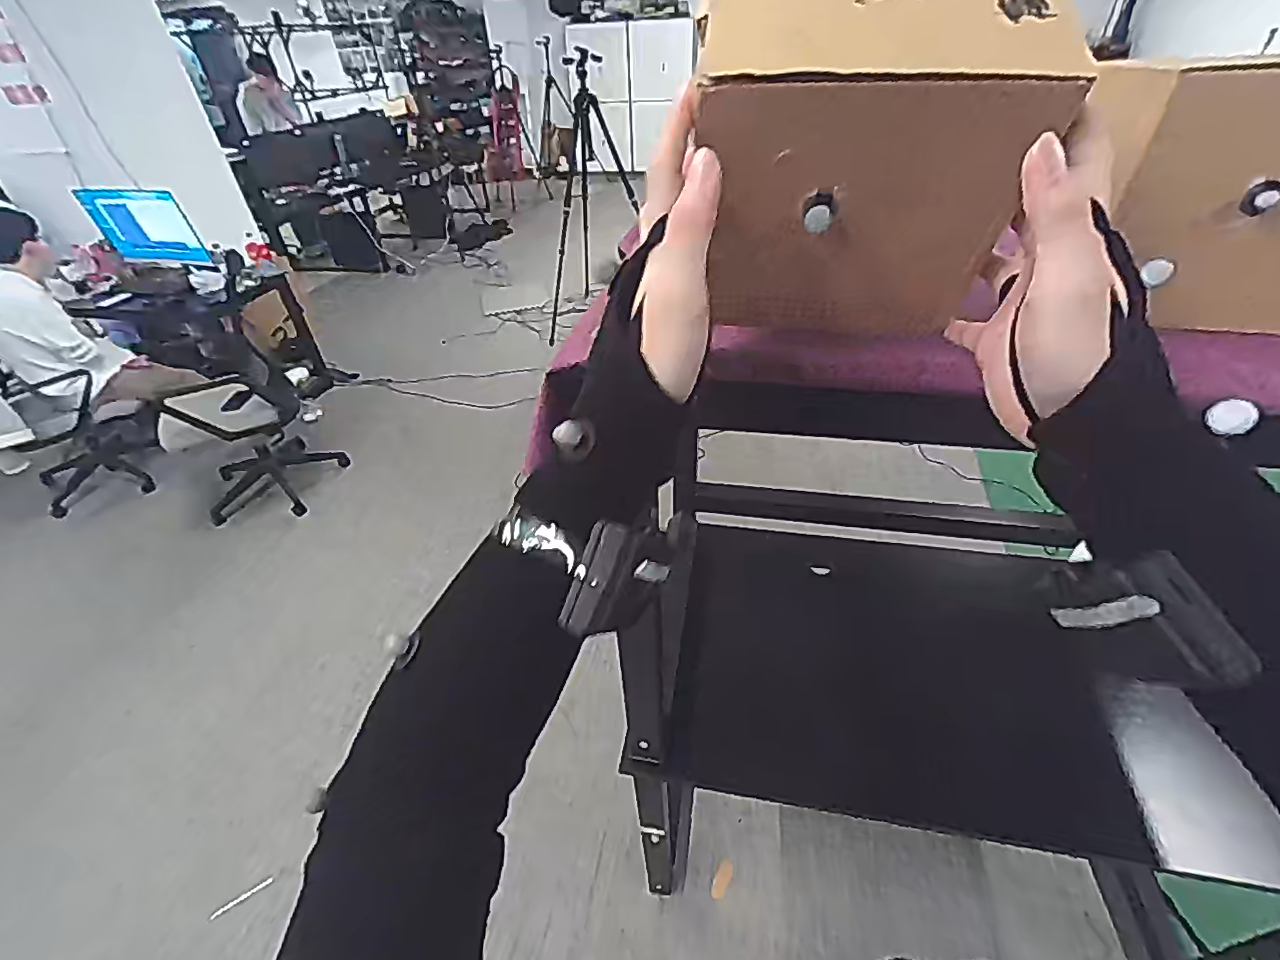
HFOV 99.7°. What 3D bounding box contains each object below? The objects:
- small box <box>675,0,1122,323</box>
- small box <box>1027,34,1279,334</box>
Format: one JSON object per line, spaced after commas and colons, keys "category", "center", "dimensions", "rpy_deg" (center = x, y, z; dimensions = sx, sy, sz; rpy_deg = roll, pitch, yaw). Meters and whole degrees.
{"category": "small box", "center": [0.121, -0.214, 0.323], "dimensions": [0.179, 0.176, 0.168], "rpy_deg": [7, 67, 9]}
{"category": "small box", "center": [0.437, -0.222, 0.405], "dimensions": [0.179, 0.176, 0.168], "rpy_deg": [10, 40, 14]}
